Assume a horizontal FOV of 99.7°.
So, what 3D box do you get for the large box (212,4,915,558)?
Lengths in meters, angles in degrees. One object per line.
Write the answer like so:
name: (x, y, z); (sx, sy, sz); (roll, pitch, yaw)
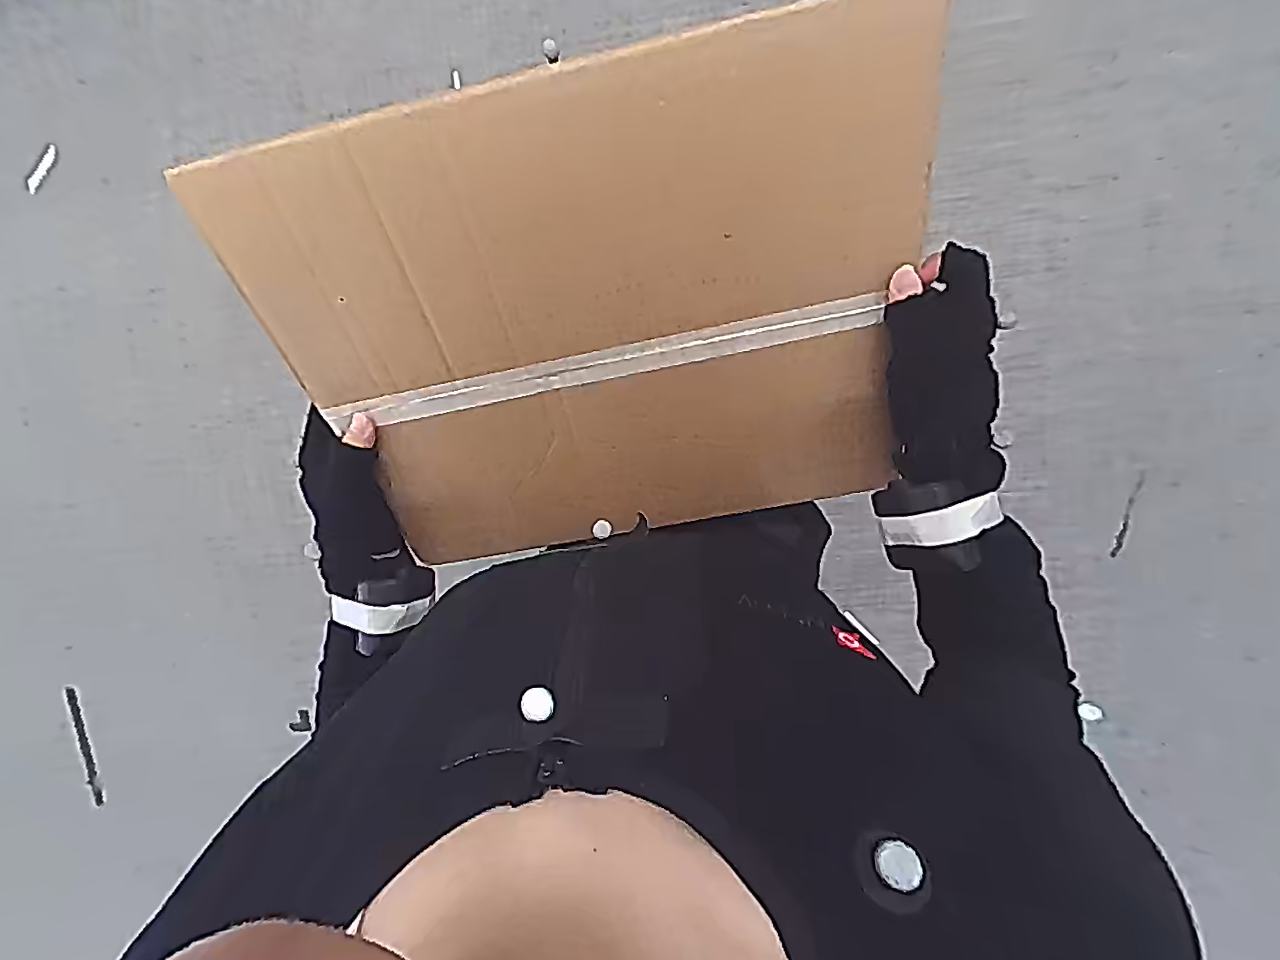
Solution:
large box: (-0.027, -0.174, 0.494); (0.408, 0.320, 0.320); (-11, 128, 6)
